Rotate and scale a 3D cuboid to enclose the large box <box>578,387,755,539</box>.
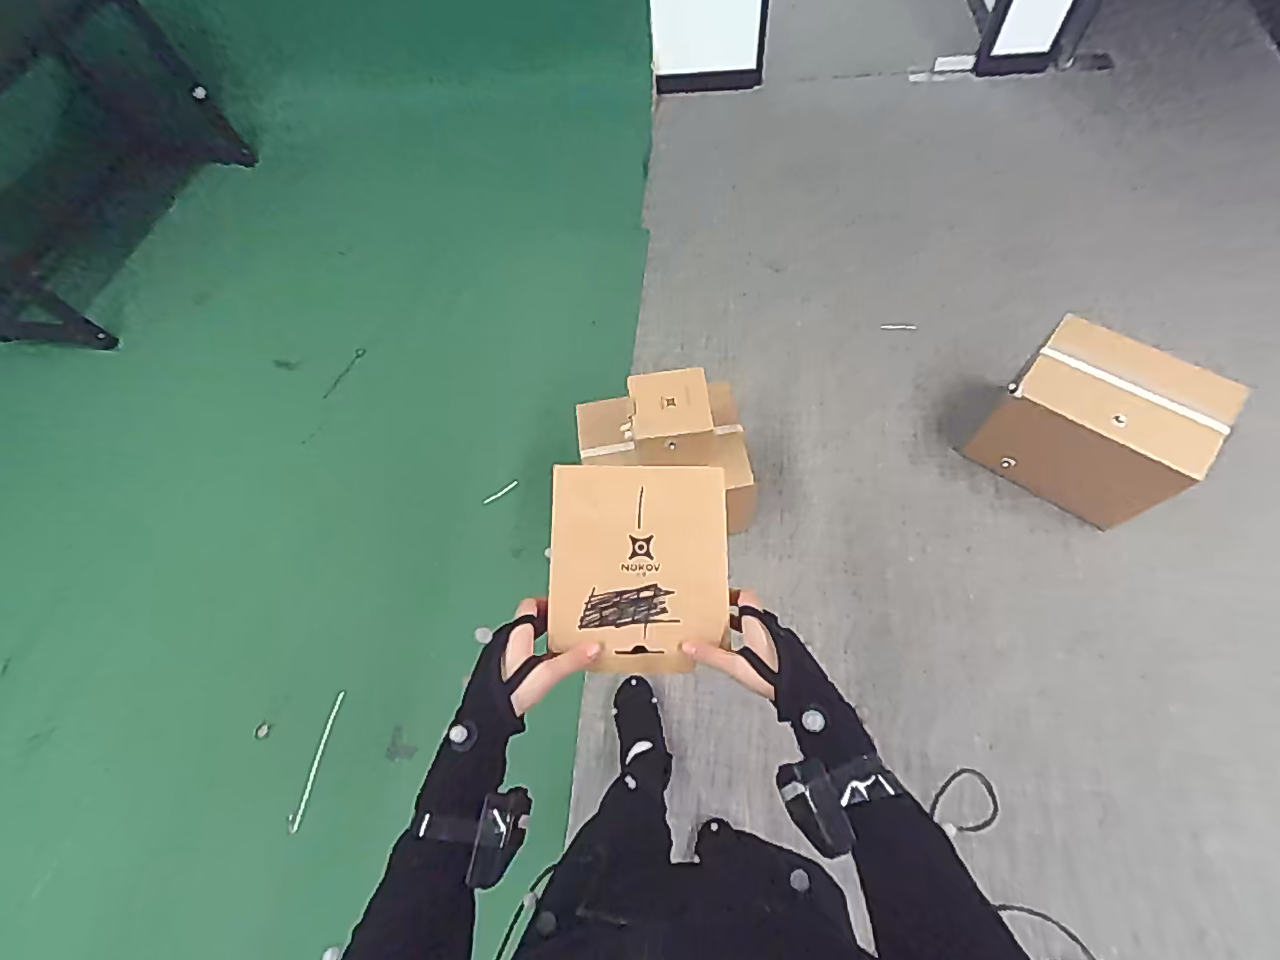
[{"bbox_3d":[0.073,-0.005,1.464,0.408,0.320,0.320,-10,61,3],"label":"large box"}]

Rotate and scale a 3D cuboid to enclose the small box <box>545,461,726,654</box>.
[{"bbox_3d":[-0.003,0.087,0.578,0.168,0.176,0.179,2,76,-2],"label":"small box"}]

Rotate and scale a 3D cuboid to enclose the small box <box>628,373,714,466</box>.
[{"bbox_3d":[0.074,-0.122,1.245,0.179,0.176,0.168,-7,64,3],"label":"small box"}]
